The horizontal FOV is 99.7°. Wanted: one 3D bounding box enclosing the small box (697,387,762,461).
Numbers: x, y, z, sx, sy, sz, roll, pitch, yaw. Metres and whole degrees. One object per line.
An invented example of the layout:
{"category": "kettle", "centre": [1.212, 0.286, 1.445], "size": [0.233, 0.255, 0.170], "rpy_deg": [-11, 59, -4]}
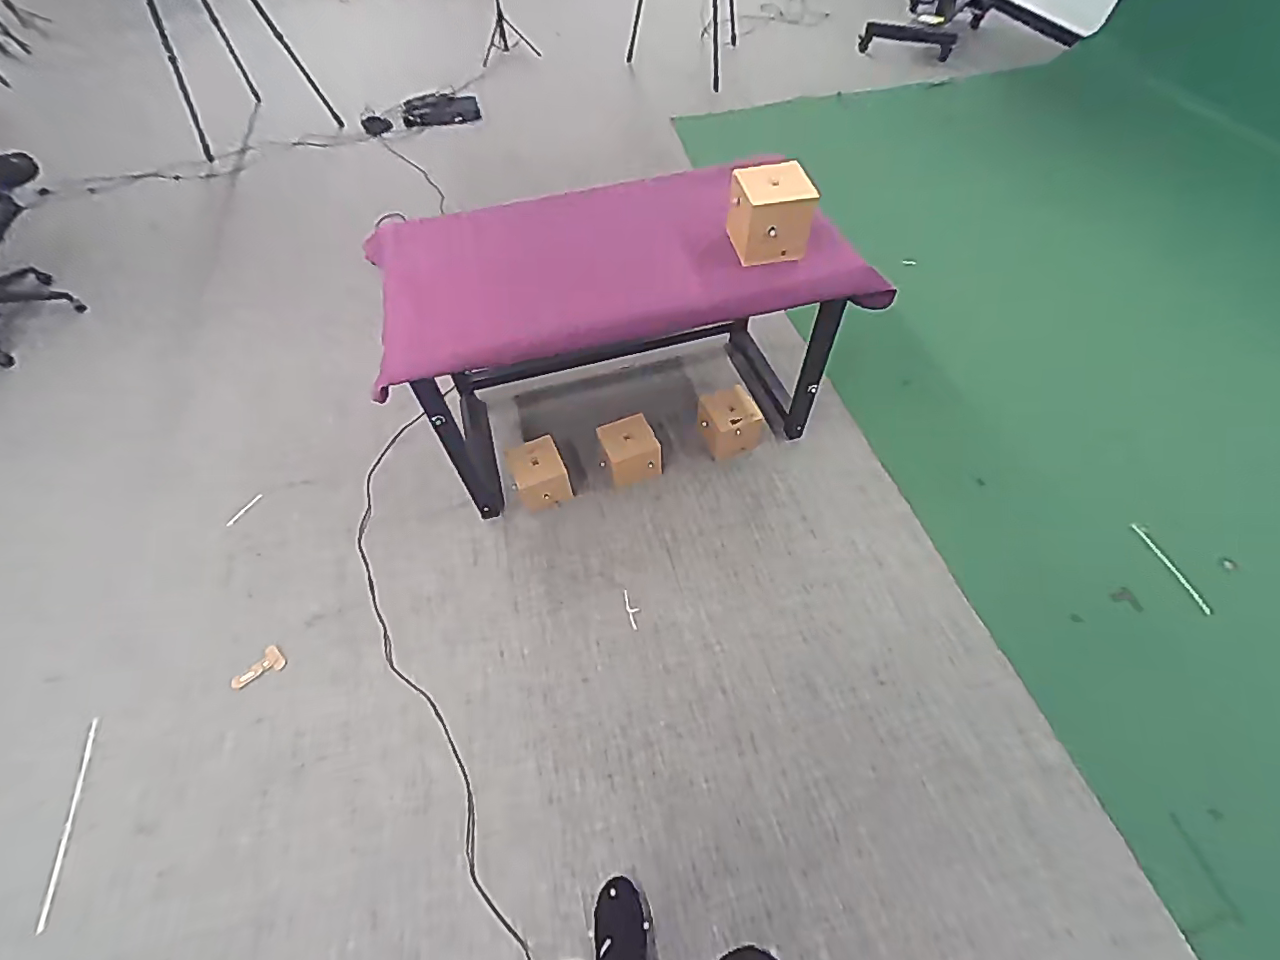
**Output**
{"category": "small box", "centre": [0.312, -0.199, 1.932], "size": [0.168, 0.176, 0.179], "rpy_deg": [-19, 57, -11]}

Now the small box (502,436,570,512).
{"category": "small box", "centre": [-0.346, -0.011, 1.825], "size": [0.168, 0.176, 0.179], "rpy_deg": [-21, 58, -12]}

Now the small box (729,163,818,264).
{"category": "small box", "centre": [0.331, -0.669, 1.375], "size": [0.168, 0.176, 0.179], "rpy_deg": [-9, 55, -3]}

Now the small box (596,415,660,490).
{"category": "small box", "centre": [-0.042, -0.092, 1.872], "size": [0.179, 0.176, 0.168], "rpy_deg": [-20, 57, -11]}
